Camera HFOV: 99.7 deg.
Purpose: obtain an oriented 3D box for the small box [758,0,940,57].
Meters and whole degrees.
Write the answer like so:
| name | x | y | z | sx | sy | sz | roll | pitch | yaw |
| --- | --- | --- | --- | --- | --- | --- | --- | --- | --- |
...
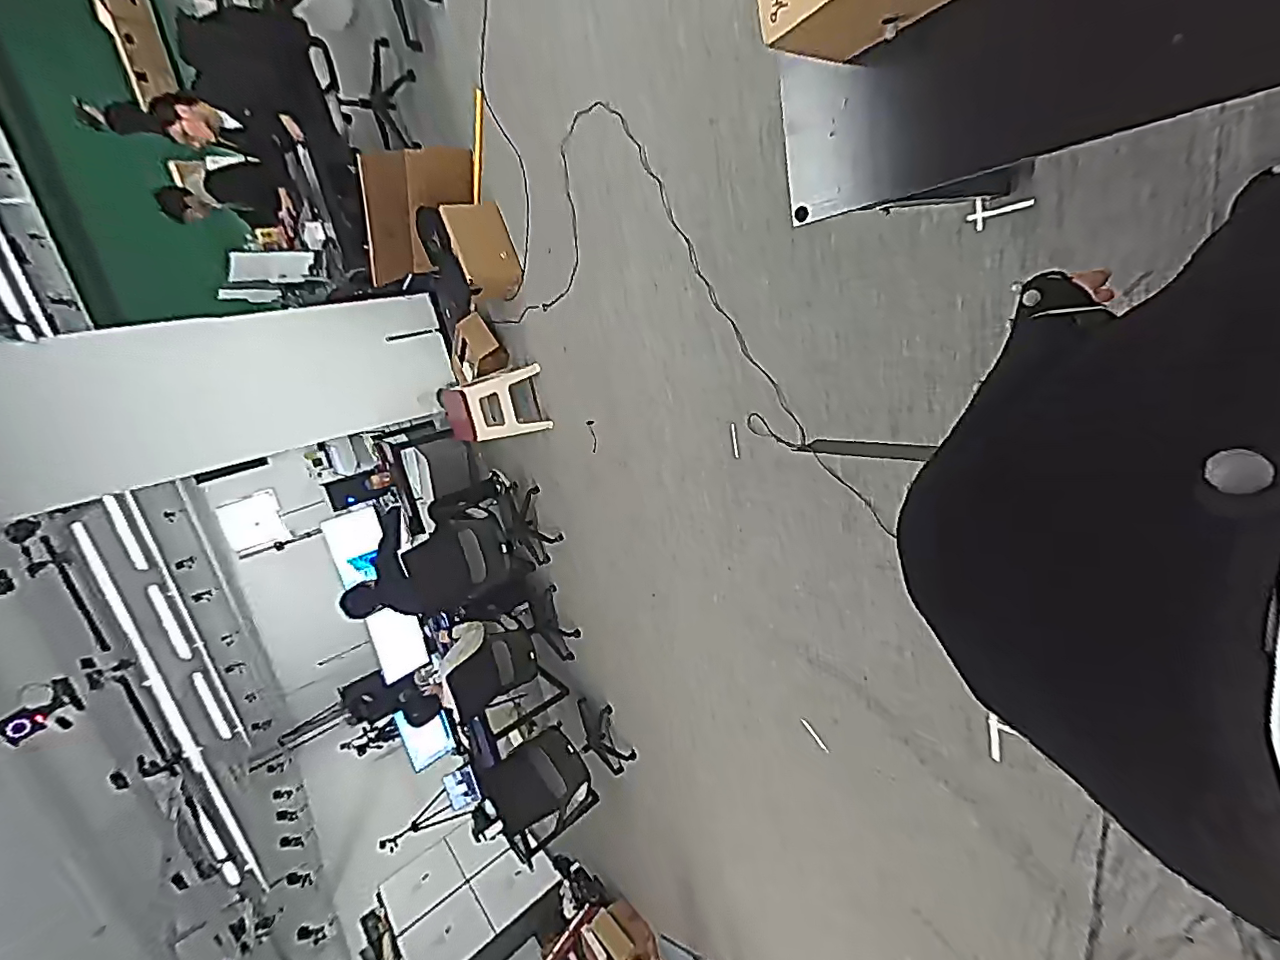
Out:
| name | x | y | z | sx | sy | sz | roll | pitch | yaw |
| --- | --- | --- | --- | --- | --- | --- | --- | --- | --- |
| small box | 0.240 | -0.603 | 0.587 | 0.179 | 0.176 | 0.168 | 6 | 113 | 50 |
